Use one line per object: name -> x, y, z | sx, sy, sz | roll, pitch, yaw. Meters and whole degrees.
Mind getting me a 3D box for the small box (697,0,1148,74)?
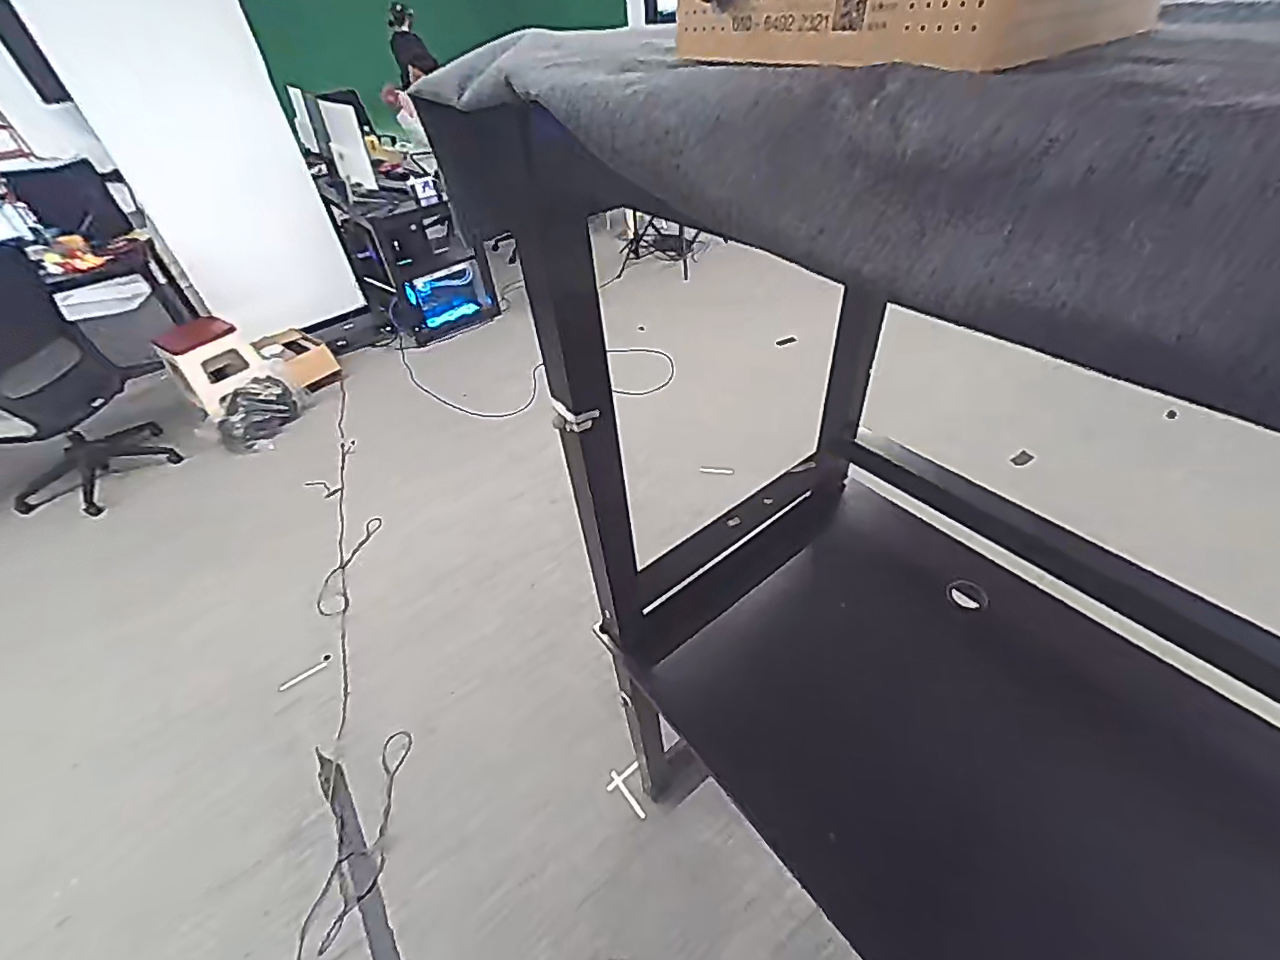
small box -> 0.132, -0.283, 0.226 | 0.179, 0.176, 0.168 | -31, 49, -28
